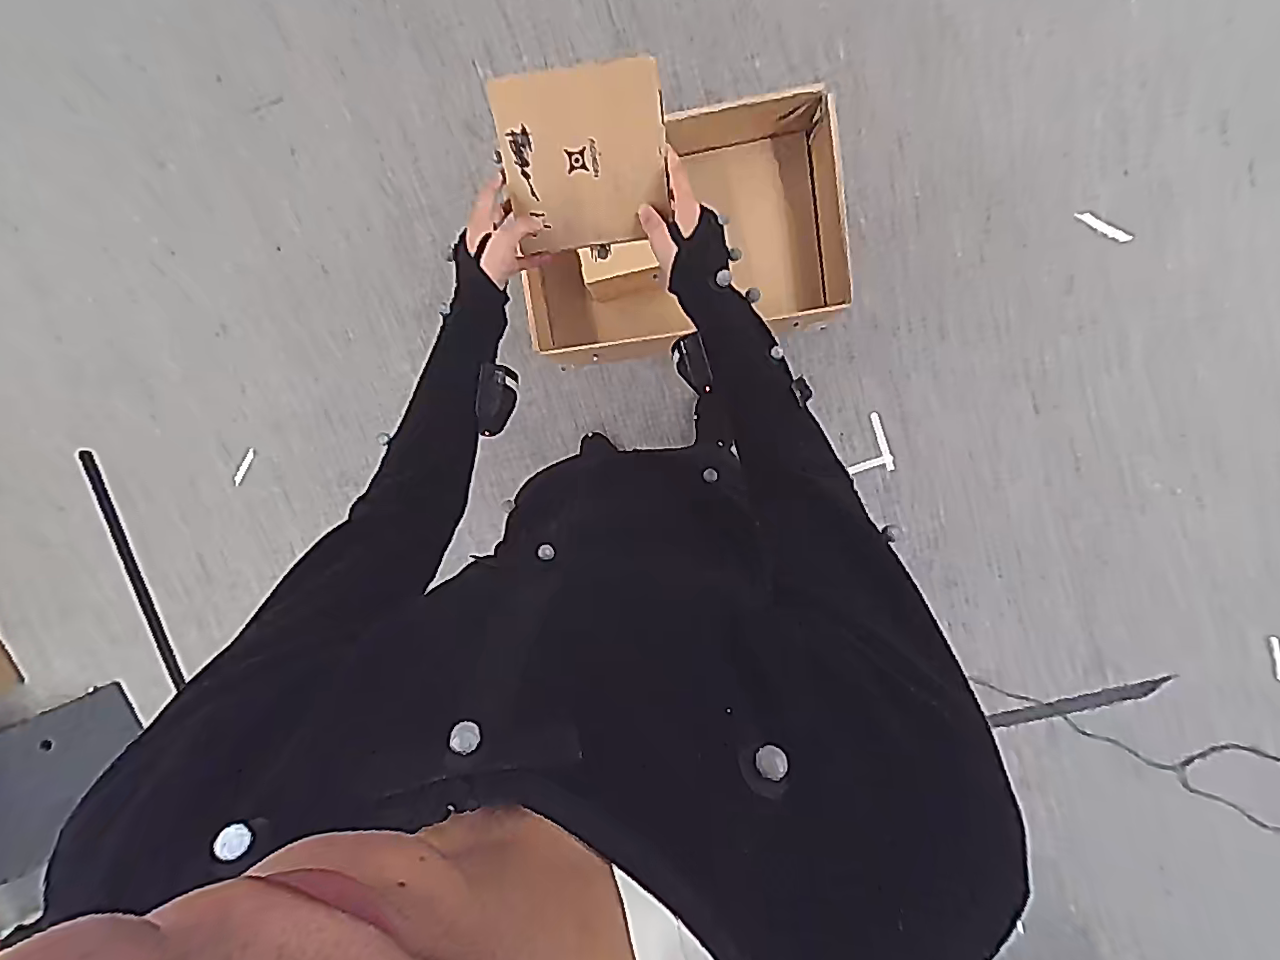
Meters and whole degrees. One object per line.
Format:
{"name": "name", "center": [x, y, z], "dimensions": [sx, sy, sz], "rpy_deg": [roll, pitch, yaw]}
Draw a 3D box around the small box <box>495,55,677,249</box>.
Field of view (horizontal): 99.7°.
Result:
{"name": "small box", "center": [-0.055, -0.372, 0.641], "dimensions": [0.179, 0.176, 0.168], "rpy_deg": [-6, 113, 1]}
